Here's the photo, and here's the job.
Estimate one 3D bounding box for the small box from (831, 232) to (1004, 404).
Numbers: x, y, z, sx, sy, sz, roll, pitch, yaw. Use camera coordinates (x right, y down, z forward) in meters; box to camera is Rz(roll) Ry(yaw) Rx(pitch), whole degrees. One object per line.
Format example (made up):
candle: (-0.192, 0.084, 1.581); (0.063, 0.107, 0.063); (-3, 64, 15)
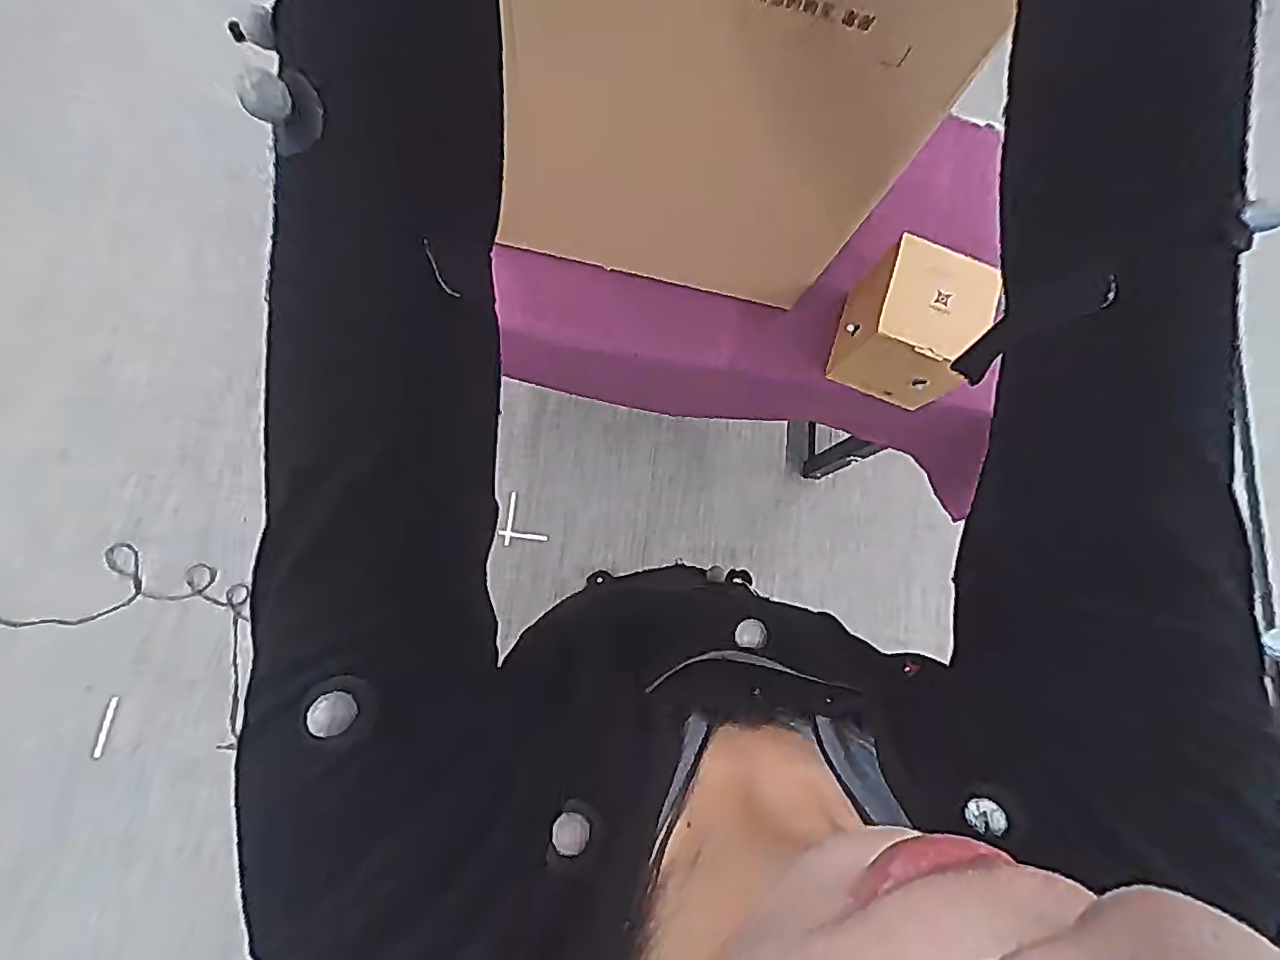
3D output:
small box: (0.425, -0.243, 0.855); (0.168, 0.176, 0.179); (20, 76, -3)
